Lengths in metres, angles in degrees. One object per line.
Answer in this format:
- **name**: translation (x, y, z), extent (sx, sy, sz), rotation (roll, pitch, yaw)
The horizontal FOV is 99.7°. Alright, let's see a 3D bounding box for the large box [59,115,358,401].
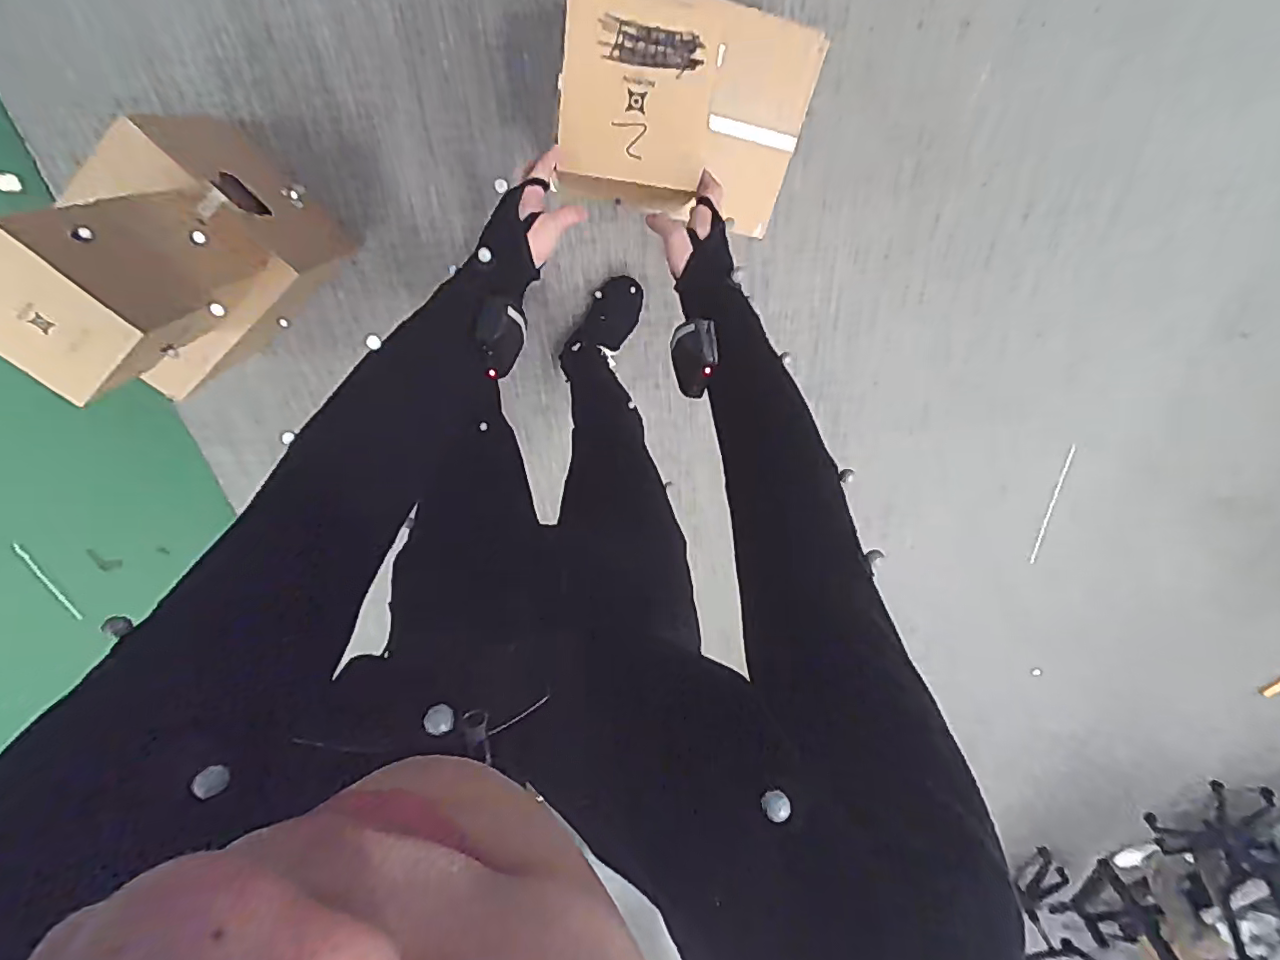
- **large box**: translation (-0.865, -0.443, 1.085), extent (0.408, 0.320, 0.320), rotation (-35, 117, 17)

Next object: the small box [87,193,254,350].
- **small box**: translation (-0.772, -0.334, 0.871), extent (0.179, 0.176, 0.168), rotation (-36, 118, 16)

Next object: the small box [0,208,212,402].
- **small box**: translation (-0.753, -0.244, 0.736), extent (0.168, 0.176, 0.179), rotation (-34, 120, 16)

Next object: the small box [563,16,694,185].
- **small box**: translation (-0.025, -0.554, 0.803), extent (0.168, 0.176, 0.179), rotation (2, 123, -7)
